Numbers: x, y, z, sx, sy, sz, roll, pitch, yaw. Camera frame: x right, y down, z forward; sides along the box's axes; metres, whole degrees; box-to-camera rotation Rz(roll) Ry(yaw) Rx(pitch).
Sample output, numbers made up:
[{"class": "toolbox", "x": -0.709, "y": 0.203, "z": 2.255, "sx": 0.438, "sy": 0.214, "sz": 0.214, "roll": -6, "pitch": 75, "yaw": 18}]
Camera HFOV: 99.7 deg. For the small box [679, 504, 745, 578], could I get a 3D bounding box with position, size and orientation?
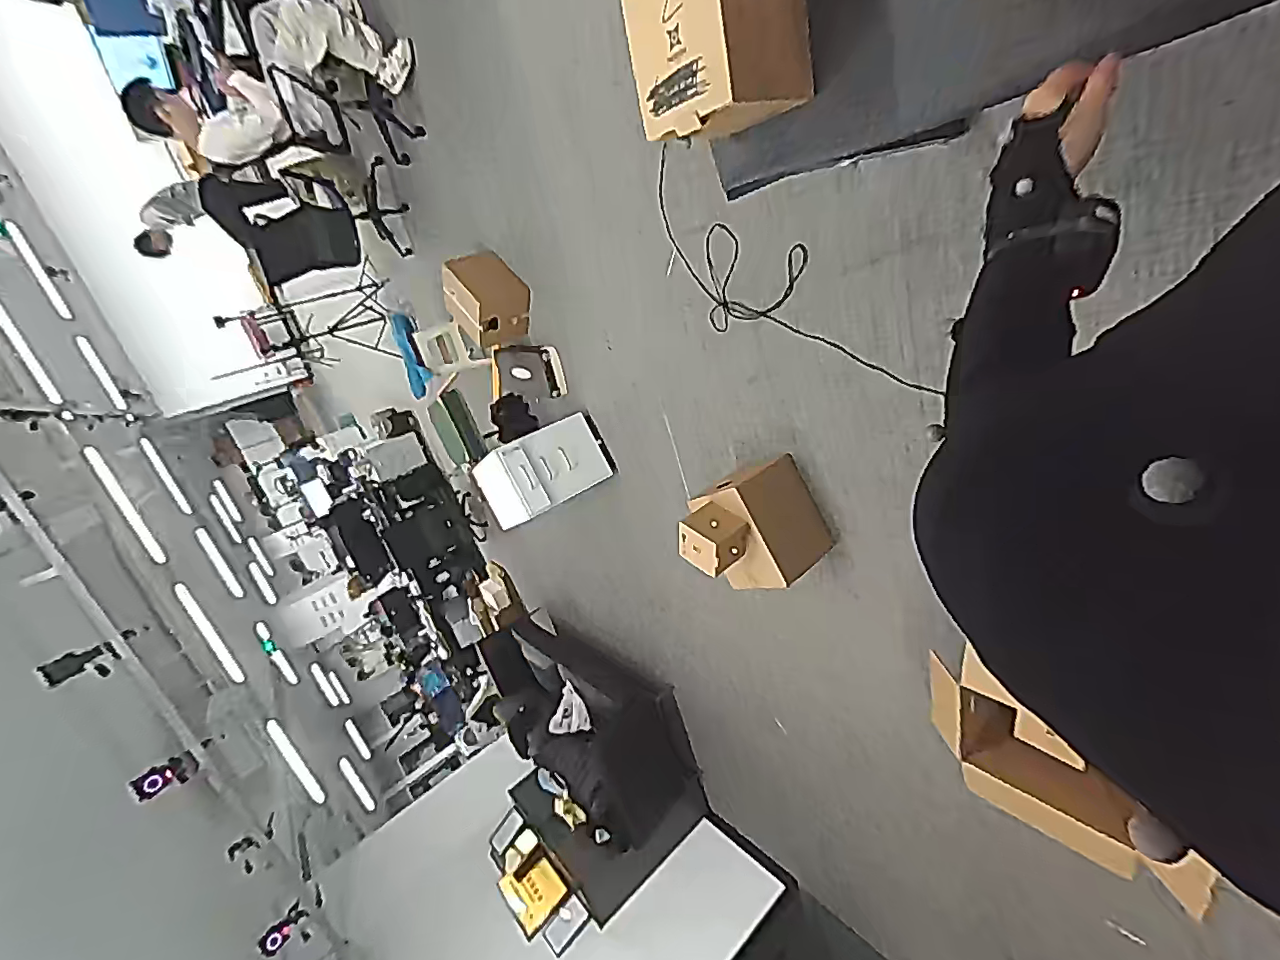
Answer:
[{"class": "small box", "x": 0.261, "y": 0.213, "z": 1.951, "sx": 0.179, "sy": 0.176, "sz": 0.168, "roll": 30, "pitch": 137, "yaw": 37}]
